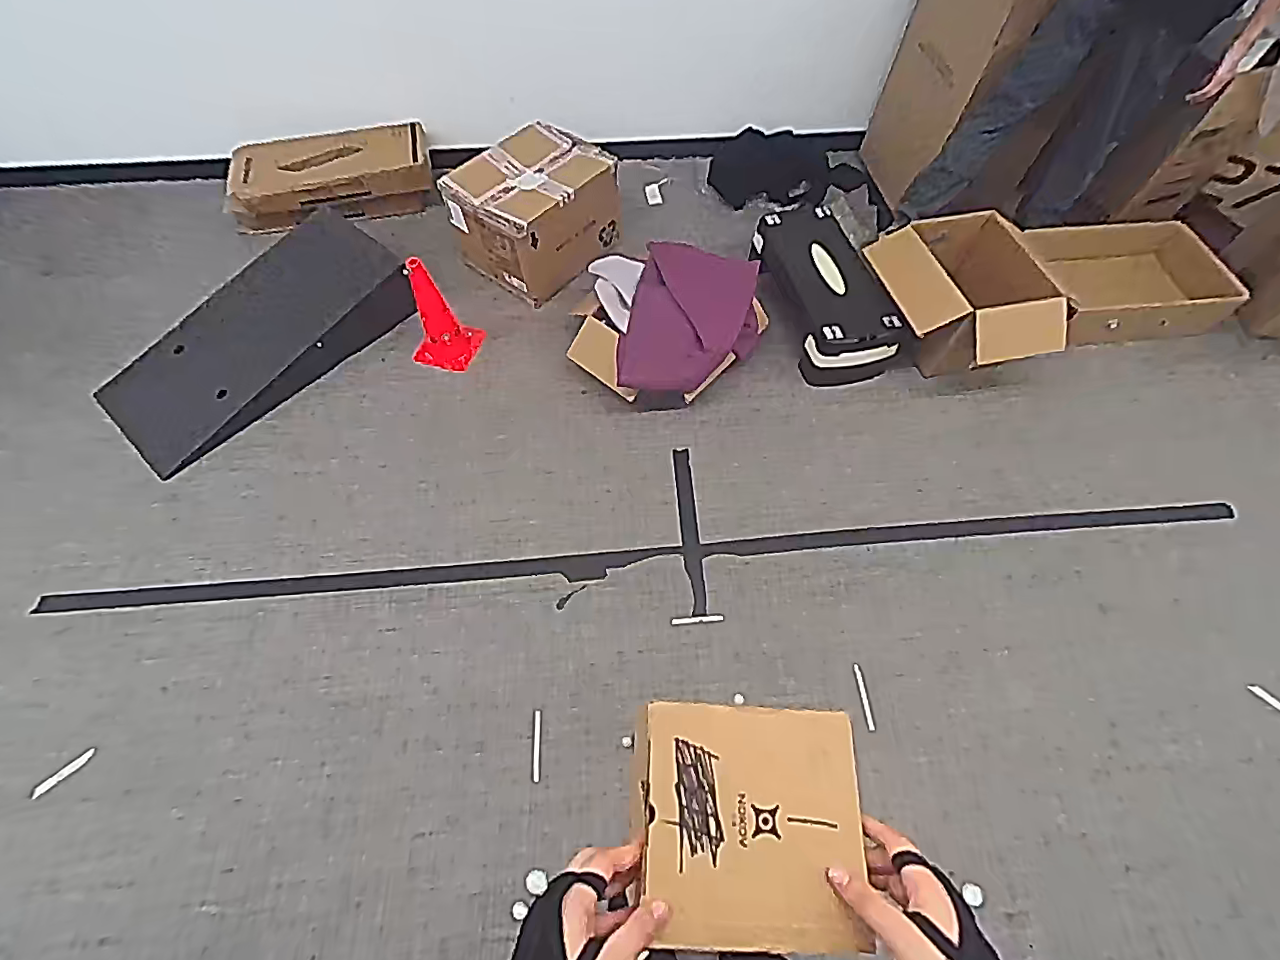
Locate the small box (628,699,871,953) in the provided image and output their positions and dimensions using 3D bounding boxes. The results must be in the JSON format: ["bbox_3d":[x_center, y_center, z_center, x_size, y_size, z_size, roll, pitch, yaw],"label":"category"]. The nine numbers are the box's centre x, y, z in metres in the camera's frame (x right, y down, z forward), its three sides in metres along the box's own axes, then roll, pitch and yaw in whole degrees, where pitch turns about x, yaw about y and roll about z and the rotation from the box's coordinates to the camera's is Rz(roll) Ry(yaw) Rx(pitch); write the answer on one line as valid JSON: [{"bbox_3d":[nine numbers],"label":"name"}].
[{"bbox_3d":[0.083,0.302,0.500,0.179,0.176,0.168,5,64,-4],"label":"small box"}]
